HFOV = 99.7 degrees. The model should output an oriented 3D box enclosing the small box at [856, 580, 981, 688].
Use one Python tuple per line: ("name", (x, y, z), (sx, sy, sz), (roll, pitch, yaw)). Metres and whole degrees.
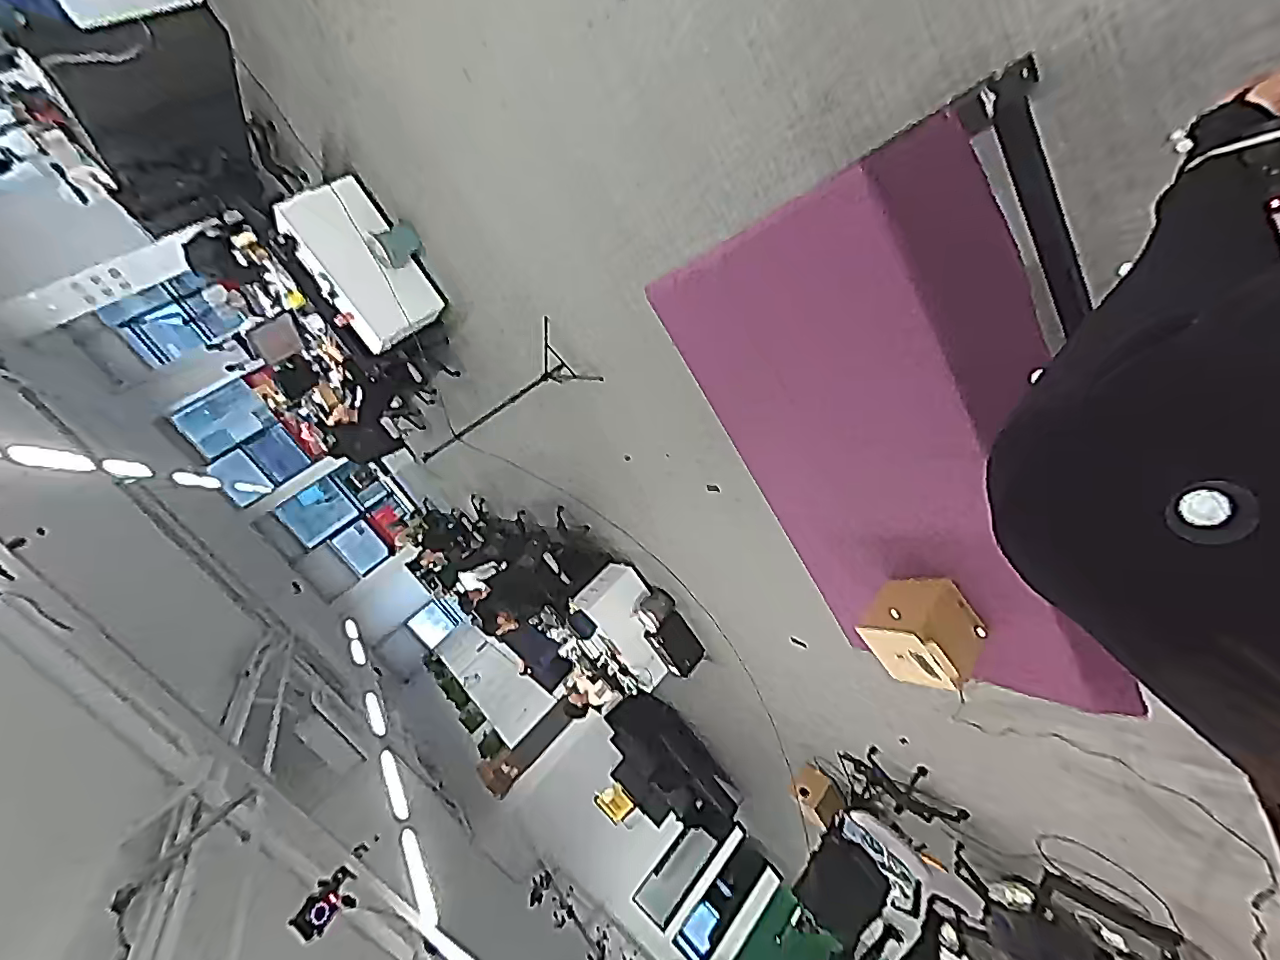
("small box", (0.644, 0.345, 1.242), (0.168, 0.176, 0.179), (52, 155, -6))
